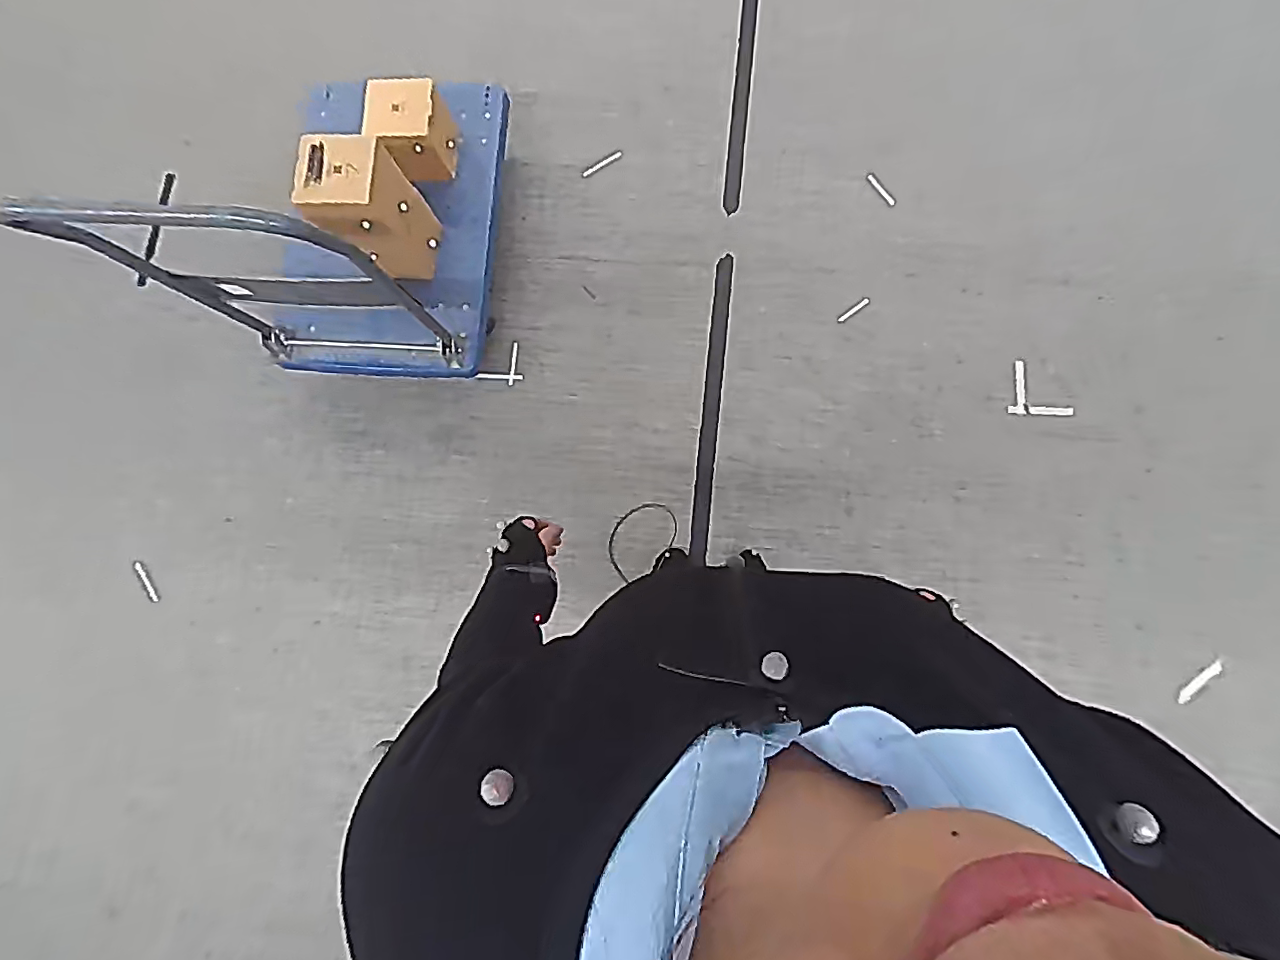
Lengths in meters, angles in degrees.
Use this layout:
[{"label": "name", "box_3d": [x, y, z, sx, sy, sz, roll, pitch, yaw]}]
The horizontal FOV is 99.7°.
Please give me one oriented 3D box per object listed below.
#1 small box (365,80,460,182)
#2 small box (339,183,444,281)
[{"label": "small box", "box_3d": [-0.605, -0.930, 1.453, 0.179, 0.176, 0.168, 1, 82, 3]}, {"label": "small box", "box_3d": [-0.639, -0.640, 1.410, 0.179, 0.176, 0.168, 7, 83, 4]}]
